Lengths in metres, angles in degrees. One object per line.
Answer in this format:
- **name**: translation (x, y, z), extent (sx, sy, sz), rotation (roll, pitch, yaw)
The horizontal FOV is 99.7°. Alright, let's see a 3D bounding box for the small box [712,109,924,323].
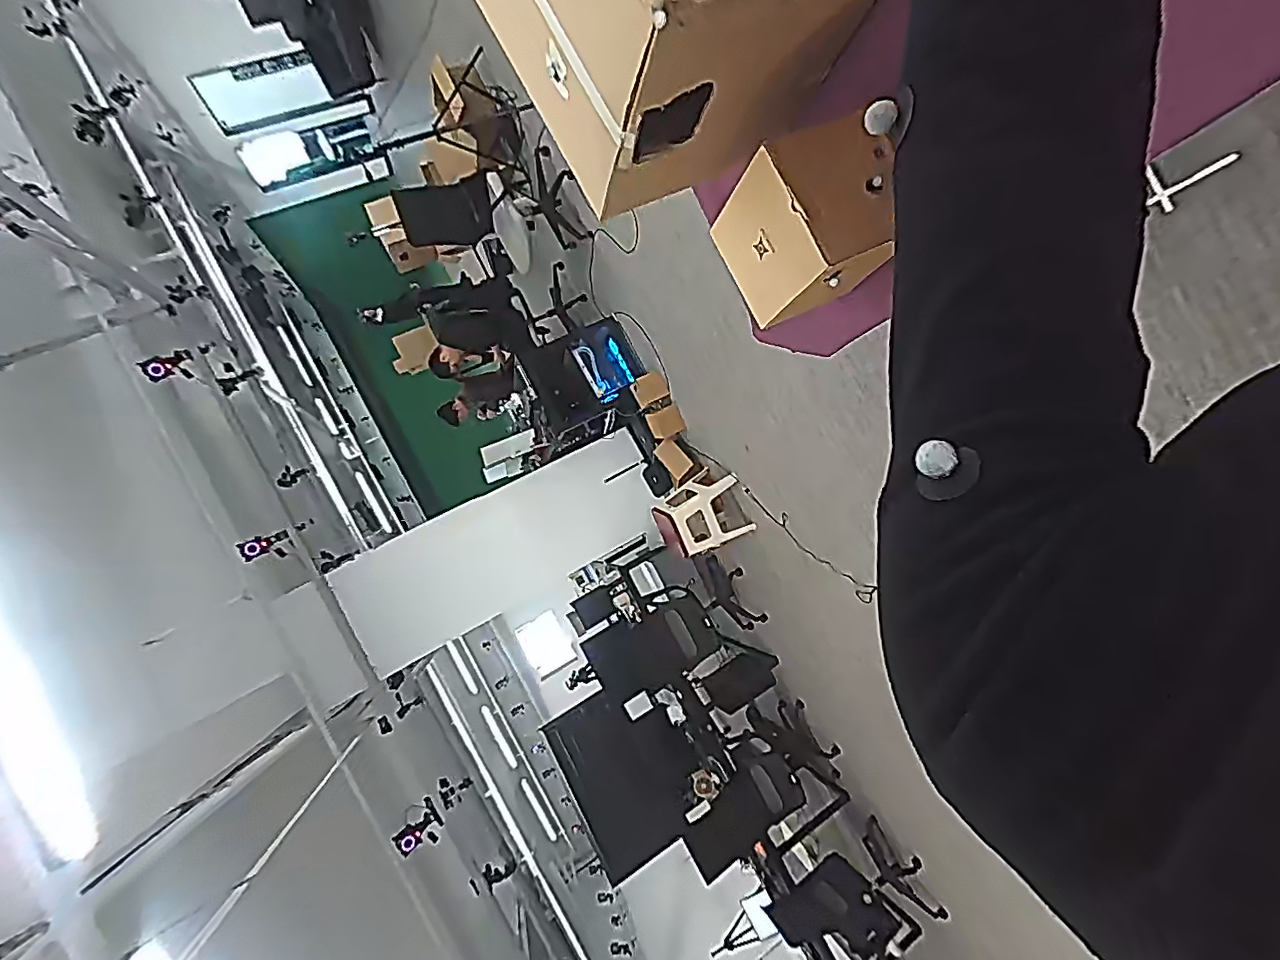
- **small box**: translation (0.229, -0.342, 0.718), extent (0.168, 0.176, 0.179), rotation (62, 164, 2)

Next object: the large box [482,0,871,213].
- **large box**: translation (0.020, -0.626, 0.636), extent (0.408, 0.320, 0.320), rotation (59, 165, 0)
